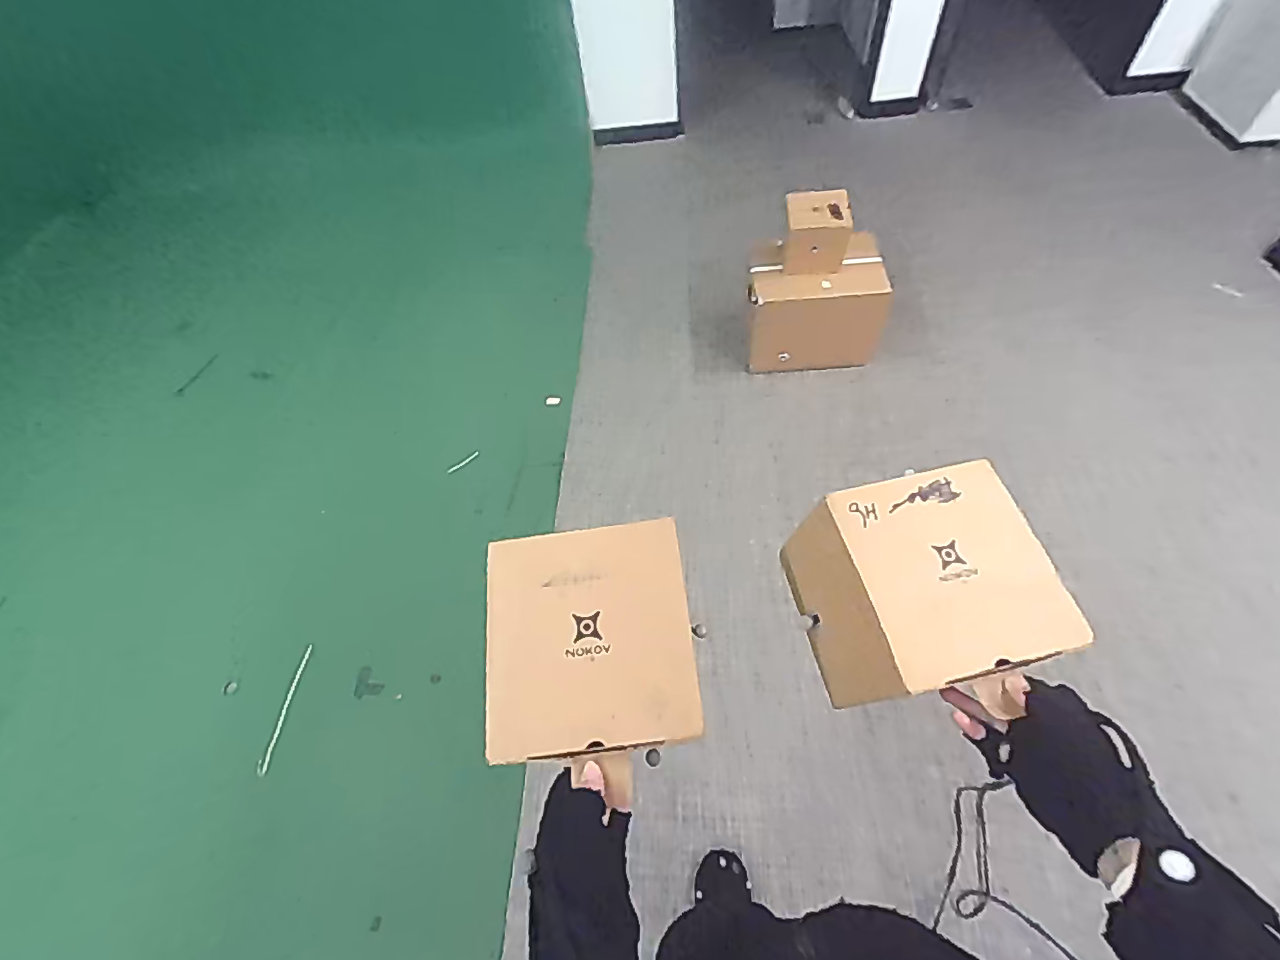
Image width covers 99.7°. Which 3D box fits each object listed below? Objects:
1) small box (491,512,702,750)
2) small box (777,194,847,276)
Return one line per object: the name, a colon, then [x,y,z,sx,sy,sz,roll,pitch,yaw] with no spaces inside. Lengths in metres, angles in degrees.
small box: [-0.034,0.149,0.513,0.168,0.176,0.179,-8,64,1]
small box: [0.524,-0.749,1.663,0.179,0.176,0.168,3,61,8]
